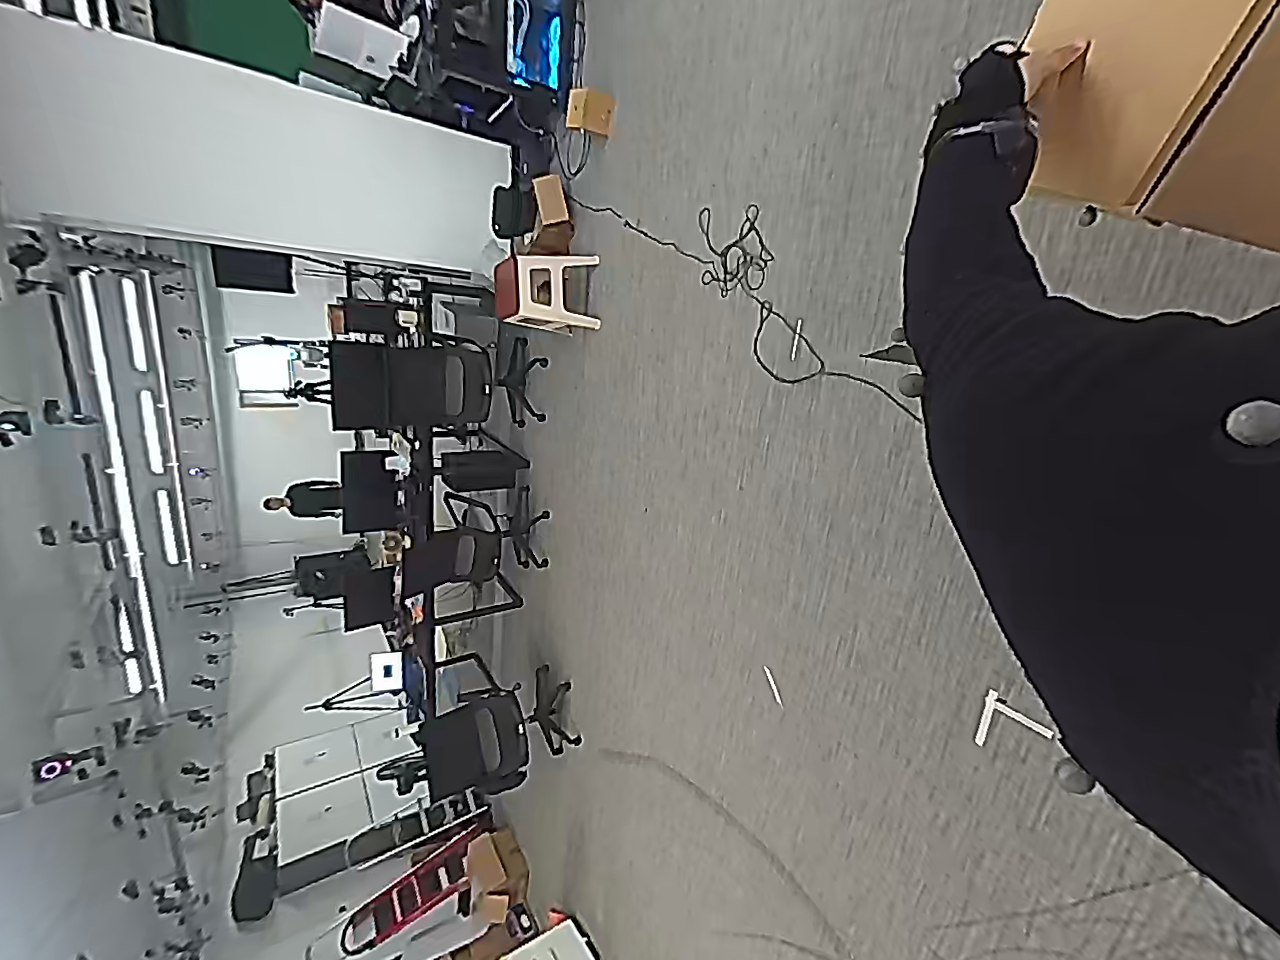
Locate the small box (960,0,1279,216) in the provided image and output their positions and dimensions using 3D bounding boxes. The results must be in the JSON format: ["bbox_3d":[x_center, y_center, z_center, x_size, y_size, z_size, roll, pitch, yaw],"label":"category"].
[{"bbox_3d":[0.482,-0.382,0.555,0.179,0.176,0.168,40,130,33],"label":"small box"}]
